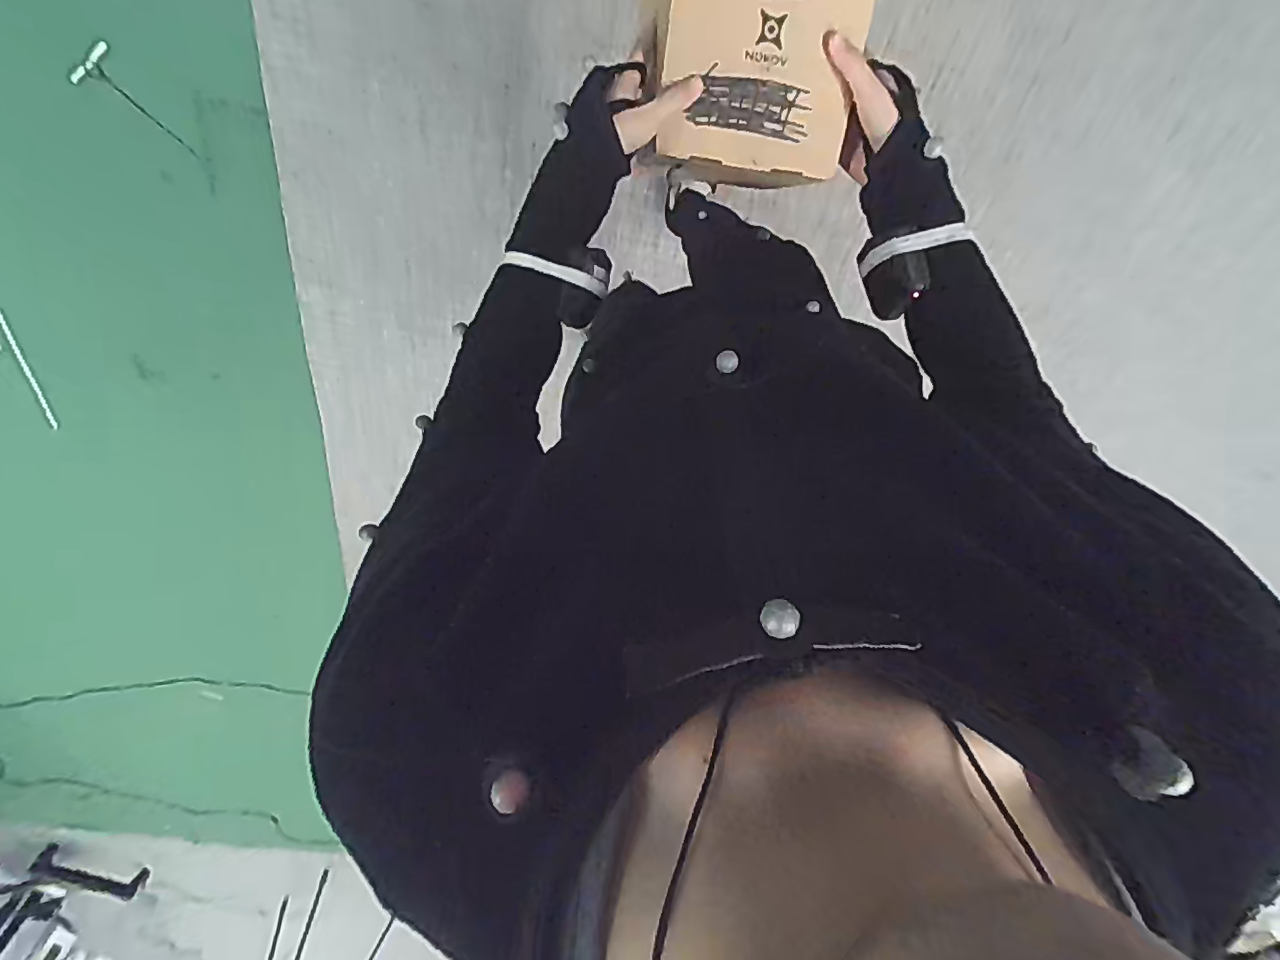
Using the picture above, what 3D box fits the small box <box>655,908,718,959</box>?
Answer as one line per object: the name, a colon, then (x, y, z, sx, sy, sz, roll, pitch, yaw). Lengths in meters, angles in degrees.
small box: (0.163, 1.613, 1.869, 0.179, 0.176, 0.168, 20, 123, -12)
